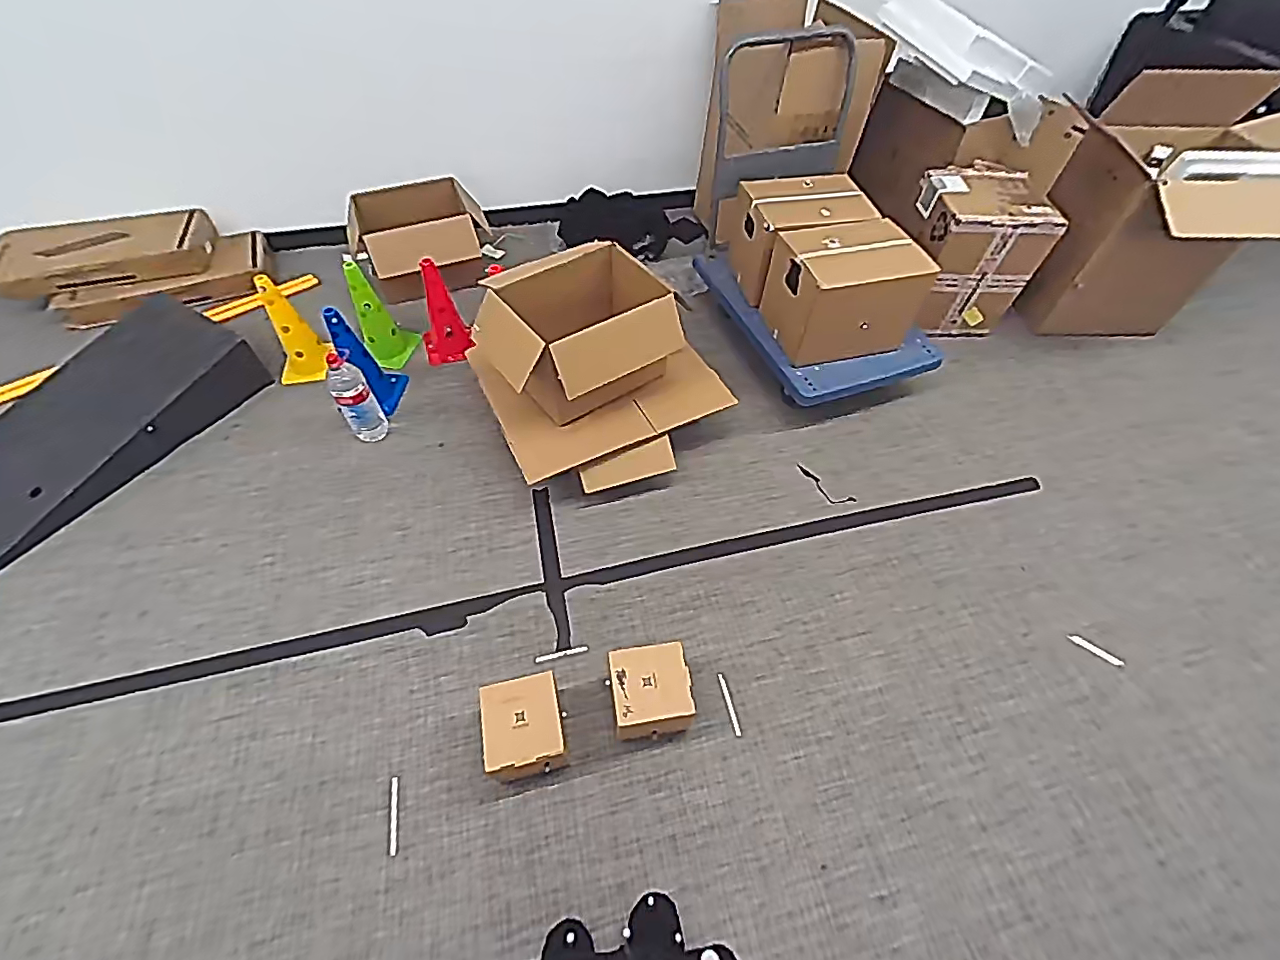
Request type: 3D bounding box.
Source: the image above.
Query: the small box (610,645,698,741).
[{"bbox_3d":[0.026,0.504,1.275,0.179,0.176,0.168,-6,55,-8],"label":"small box"}]

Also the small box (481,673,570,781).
[{"bbox_3d":[-0.255,0.563,1.221,0.168,0.176,0.179,-10,54,-11],"label":"small box"}]
